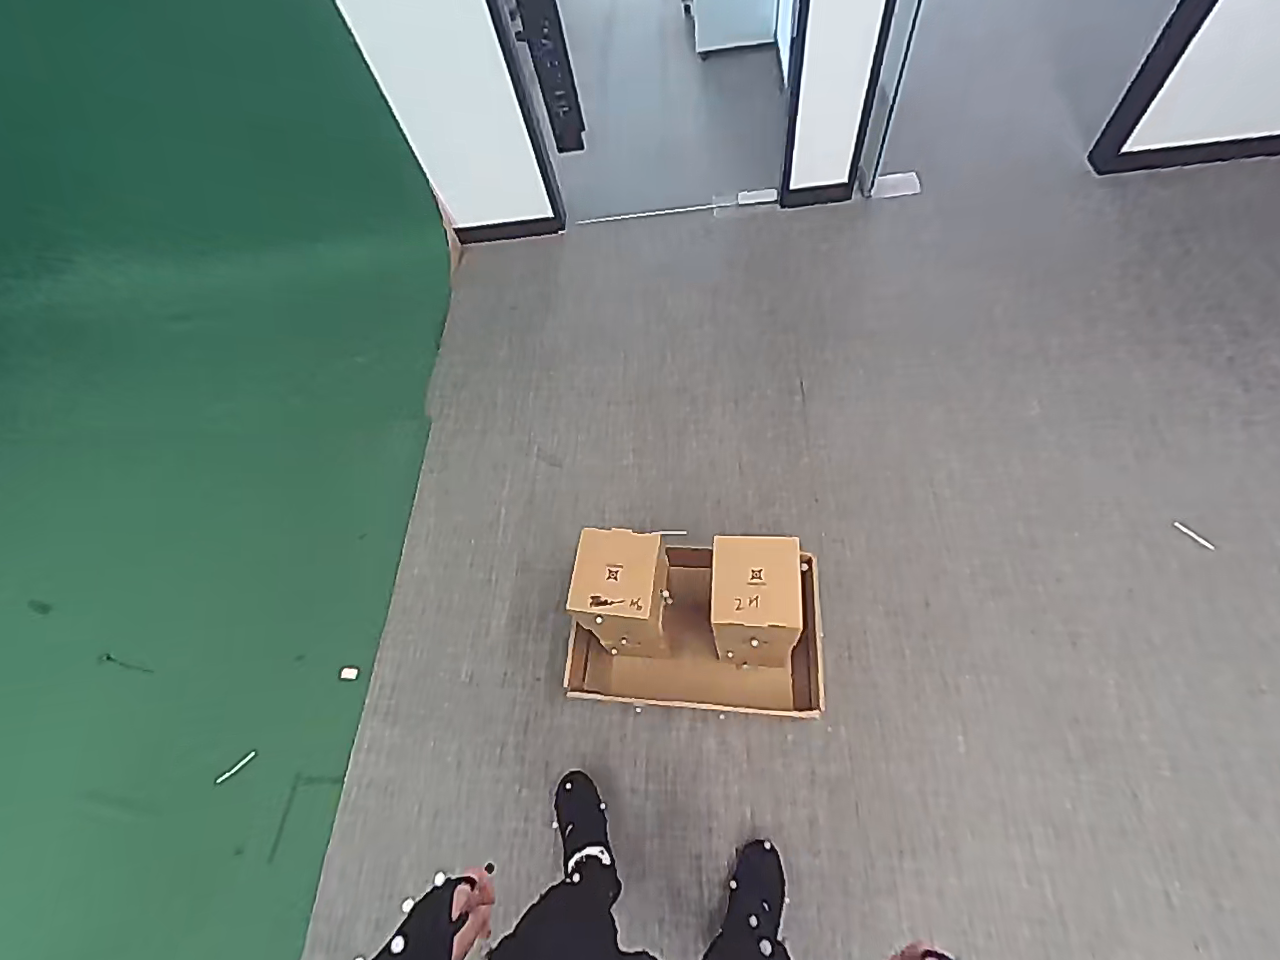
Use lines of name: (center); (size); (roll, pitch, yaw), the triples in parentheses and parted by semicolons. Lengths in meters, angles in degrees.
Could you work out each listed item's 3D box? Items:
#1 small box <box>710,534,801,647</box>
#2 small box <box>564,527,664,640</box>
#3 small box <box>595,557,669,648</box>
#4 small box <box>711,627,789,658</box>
small box: (0.228, 0.223, 1.083); (0.168, 0.176, 0.179); (1, 63, 11)
small box: (-0.044, 0.218, 1.127); (0.168, 0.176, 0.179); (5, 62, 10)
small box: (-0.022, 0.285, 1.277); (0.168, 0.176, 0.179); (2, 62, 9)
small box: (0.254, 0.297, 1.228); (0.168, 0.176, 0.179); (3, 62, 12)
